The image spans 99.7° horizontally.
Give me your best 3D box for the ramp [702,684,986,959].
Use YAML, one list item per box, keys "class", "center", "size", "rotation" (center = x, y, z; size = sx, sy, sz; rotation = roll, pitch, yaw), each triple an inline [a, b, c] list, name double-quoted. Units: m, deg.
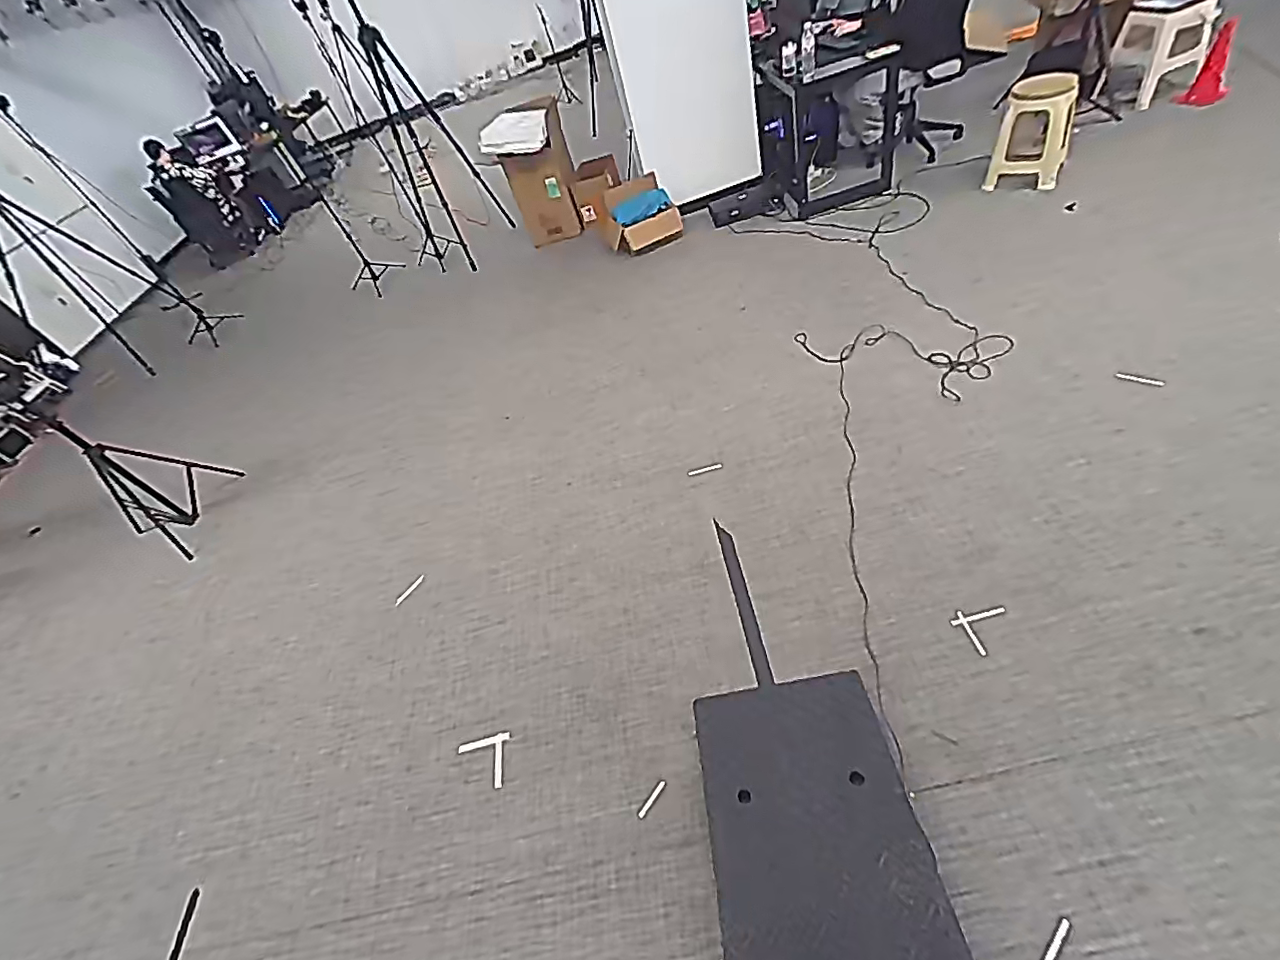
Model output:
- class: "ramp"
  center: [0.437, 0.936, 1.185]
  size: [0.509, 0.206, 0.991]
  rotation: [-18, 43, 7]
